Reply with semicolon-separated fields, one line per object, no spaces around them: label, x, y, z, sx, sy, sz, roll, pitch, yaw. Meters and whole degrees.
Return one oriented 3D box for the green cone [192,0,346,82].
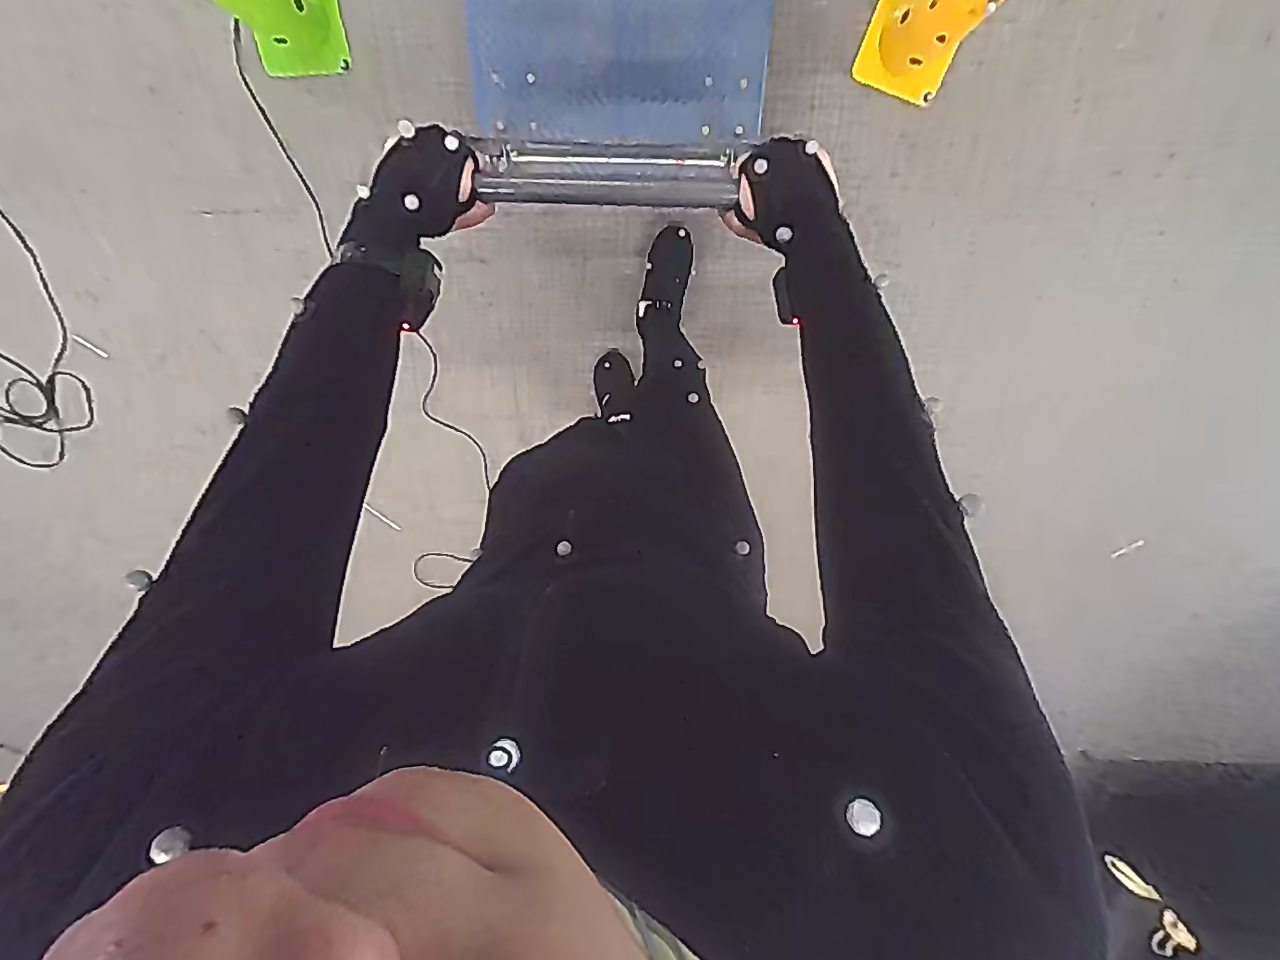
green cone;-0.754;-0.901;1.001;0.202;0.368;0.200;-2;116;4
